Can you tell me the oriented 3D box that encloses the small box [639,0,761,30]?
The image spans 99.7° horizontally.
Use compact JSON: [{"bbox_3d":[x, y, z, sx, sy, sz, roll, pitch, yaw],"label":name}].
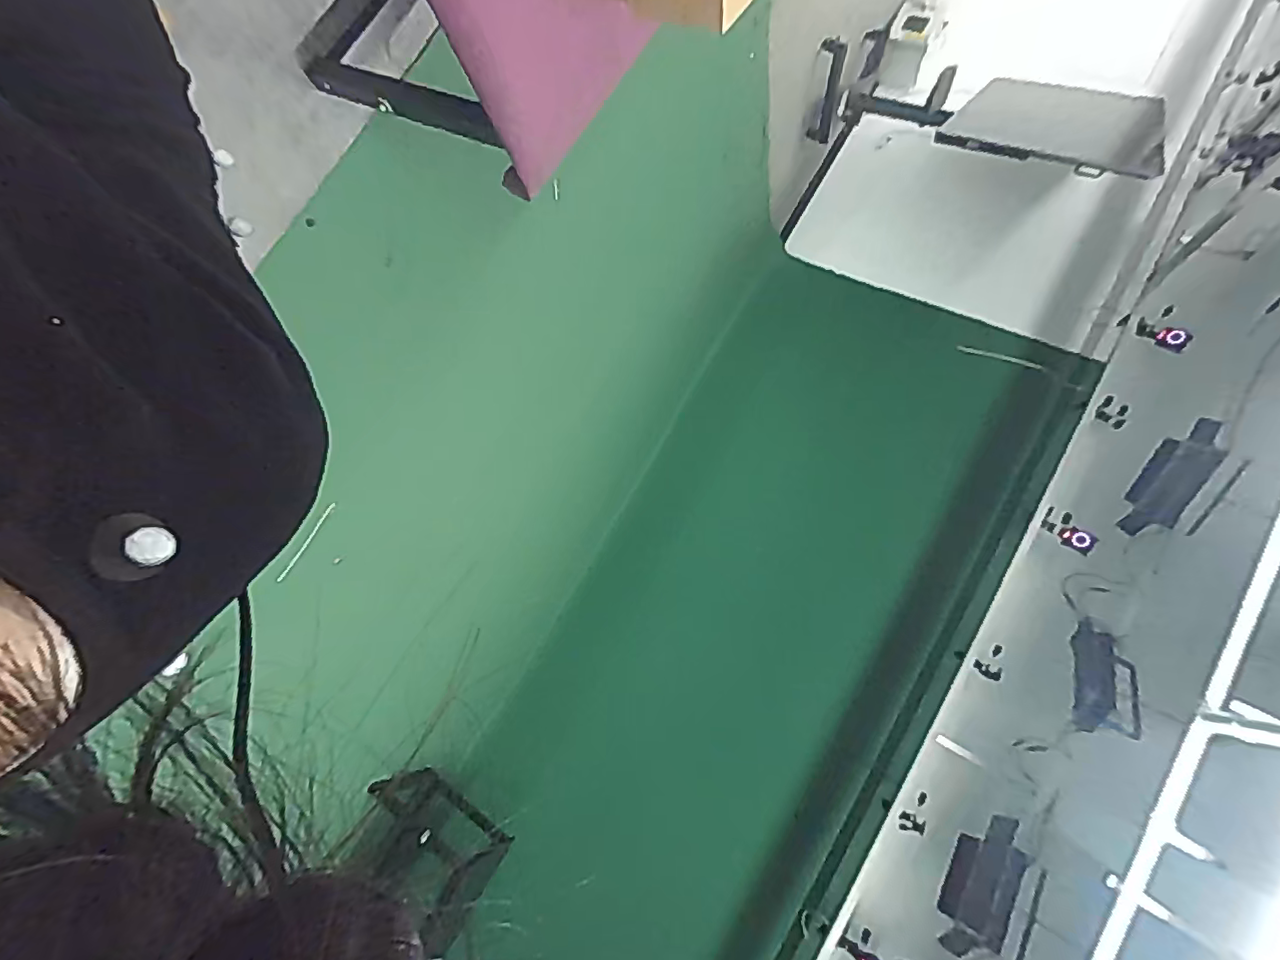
[{"bbox_3d":[0.095,-0.777,0.750,0.168,0.176,0.179,-56,160,-16],"label":"small box"}]
